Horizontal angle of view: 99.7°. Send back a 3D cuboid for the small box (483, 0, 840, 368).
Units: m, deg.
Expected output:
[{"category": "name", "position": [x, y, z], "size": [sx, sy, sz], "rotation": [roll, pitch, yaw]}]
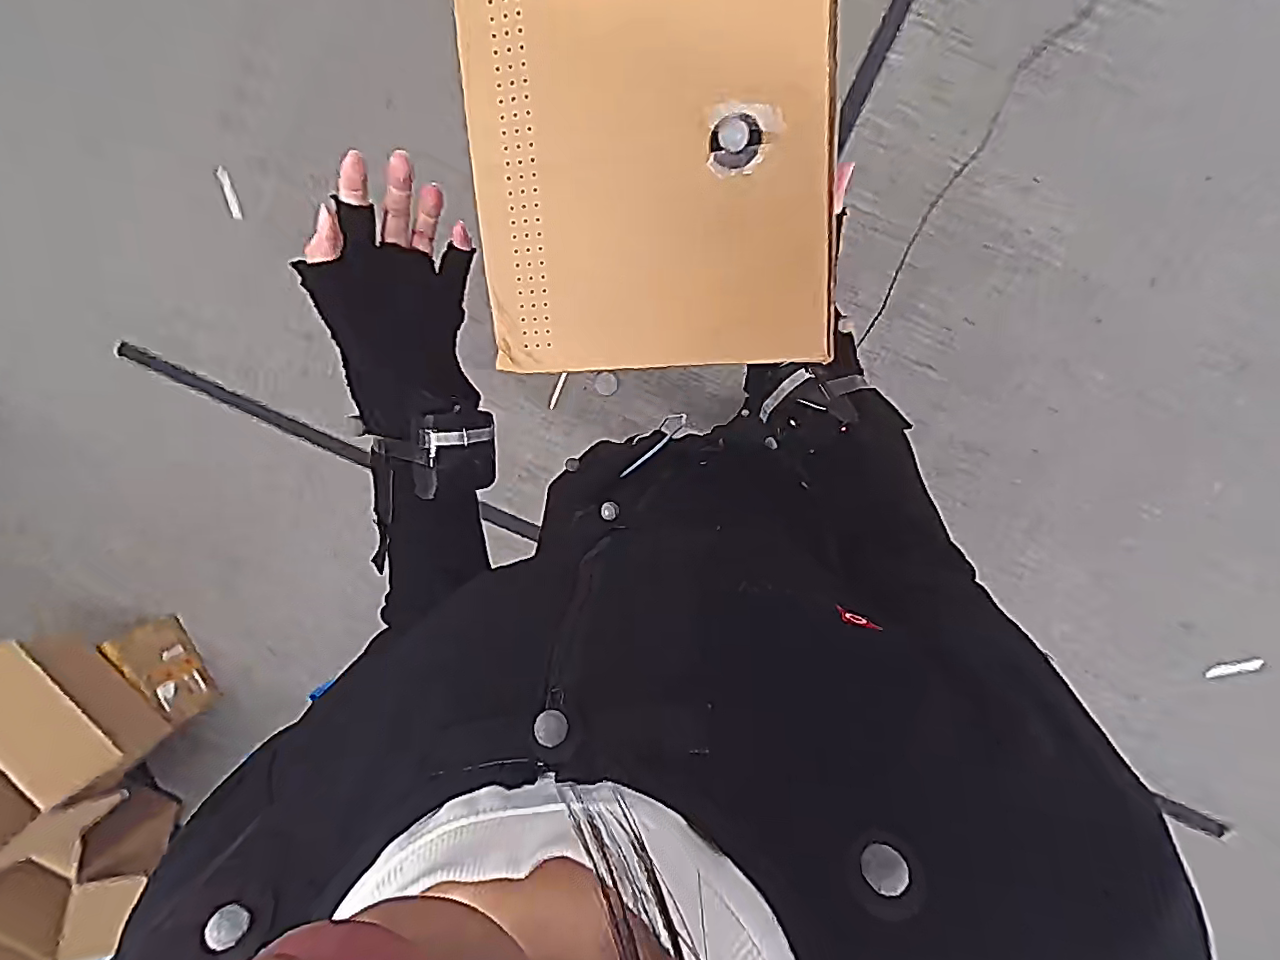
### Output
[{"category": "small box", "position": [0.021, -0.162, 0.325], "size": [0.176, 0.168, 0.179], "rotation": [1, 104, 15]}]
